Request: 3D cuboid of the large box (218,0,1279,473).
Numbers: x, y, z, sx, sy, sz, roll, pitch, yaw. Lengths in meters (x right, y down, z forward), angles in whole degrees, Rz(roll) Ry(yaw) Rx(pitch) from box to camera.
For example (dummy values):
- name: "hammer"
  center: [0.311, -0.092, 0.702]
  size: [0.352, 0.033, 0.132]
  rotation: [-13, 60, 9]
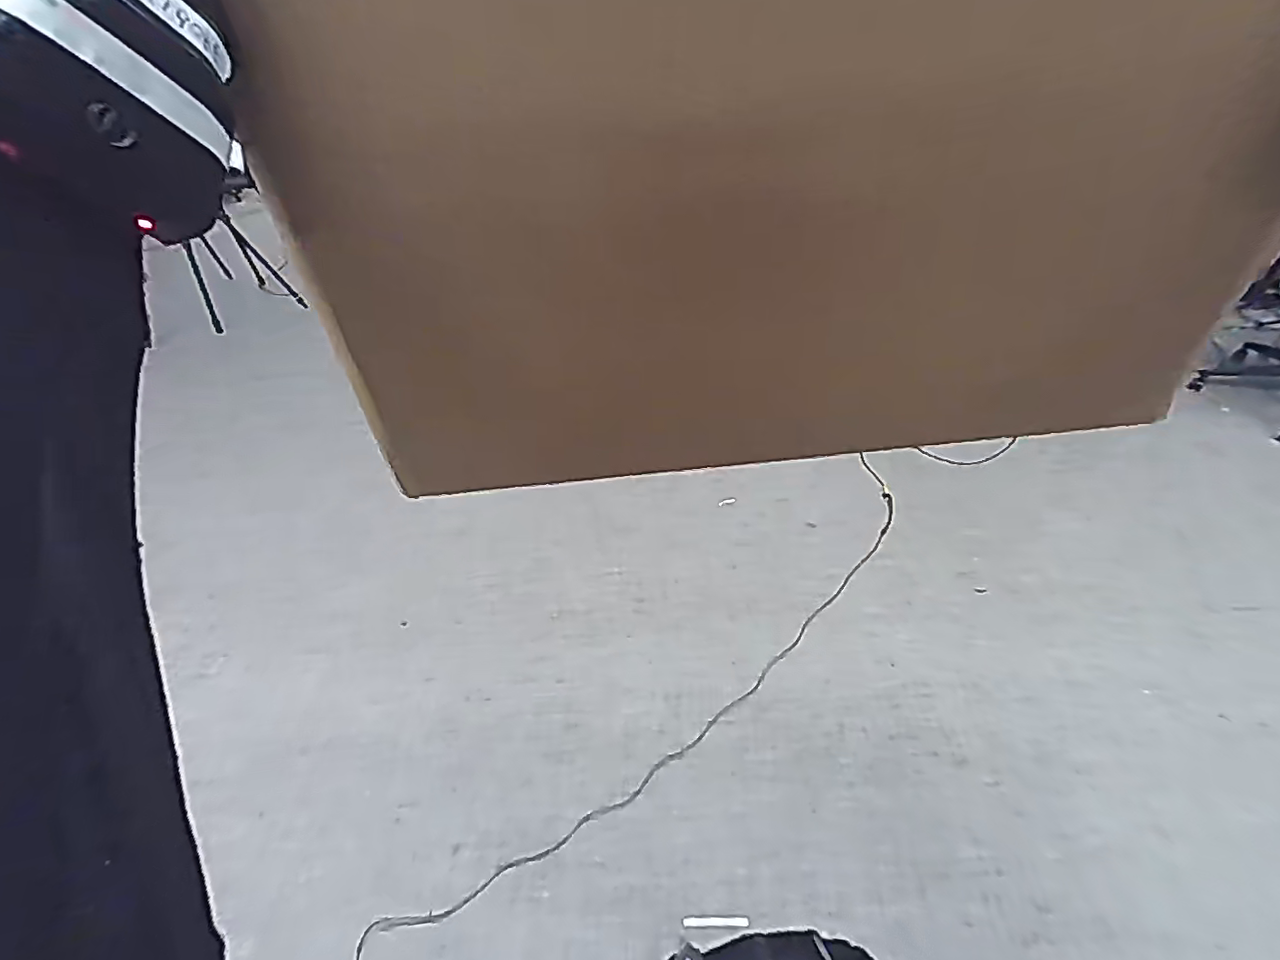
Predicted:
- name: "large box"
  center: [0.052, -0.228, 0.312]
  size: [0.408, 0.320, 0.320]
  rotation: [-5, 39, -2]
